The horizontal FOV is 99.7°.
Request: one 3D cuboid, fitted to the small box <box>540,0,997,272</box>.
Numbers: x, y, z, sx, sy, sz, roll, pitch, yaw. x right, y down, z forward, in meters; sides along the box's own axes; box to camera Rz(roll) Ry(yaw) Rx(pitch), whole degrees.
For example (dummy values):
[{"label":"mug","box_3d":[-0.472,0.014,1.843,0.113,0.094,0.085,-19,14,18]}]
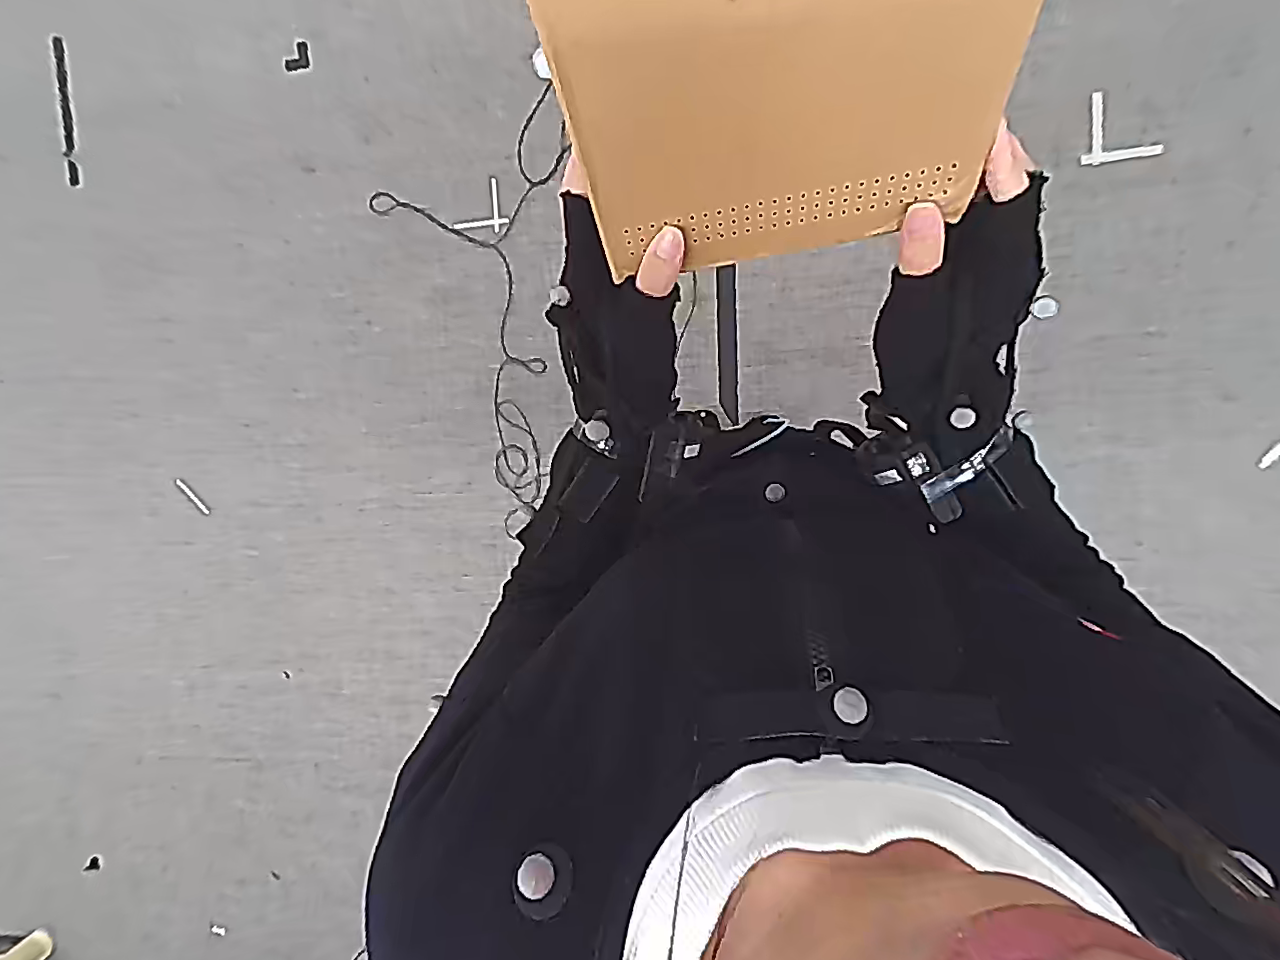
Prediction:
[{"label":"small box","box_3d":[0.054,-0.226,0.260,0.179,0.176,0.168,-6,61,10]}]
